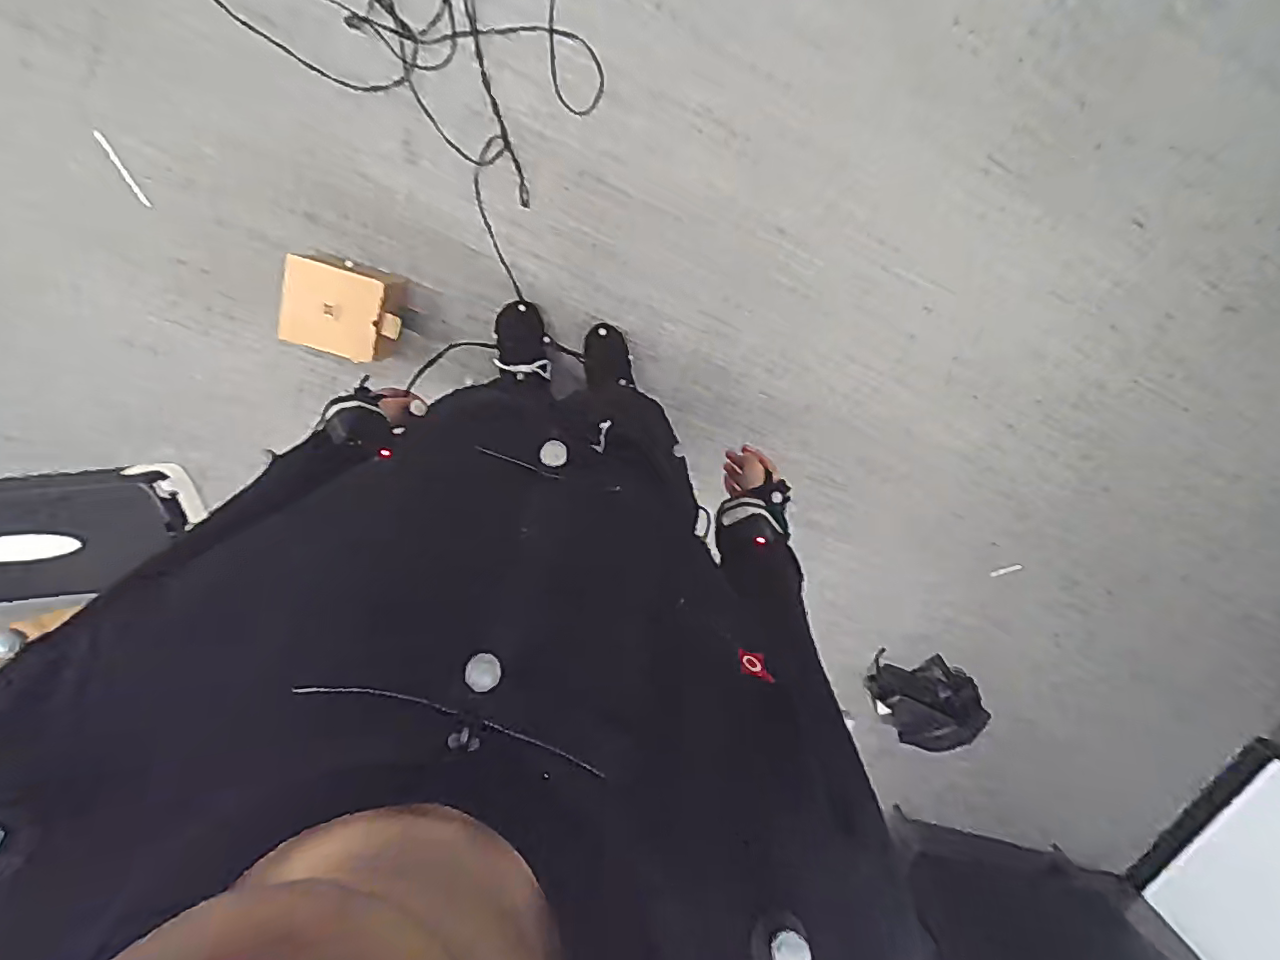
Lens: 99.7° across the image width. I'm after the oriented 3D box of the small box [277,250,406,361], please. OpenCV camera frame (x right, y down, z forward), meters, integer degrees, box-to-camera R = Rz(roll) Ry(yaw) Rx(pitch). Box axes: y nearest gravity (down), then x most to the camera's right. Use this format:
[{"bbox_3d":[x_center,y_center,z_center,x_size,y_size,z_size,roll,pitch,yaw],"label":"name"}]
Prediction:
[{"bbox_3d":[-0.608,-0.358,1.117,0.179,0.176,0.168,14,107,-14],"label":"small box"}]
